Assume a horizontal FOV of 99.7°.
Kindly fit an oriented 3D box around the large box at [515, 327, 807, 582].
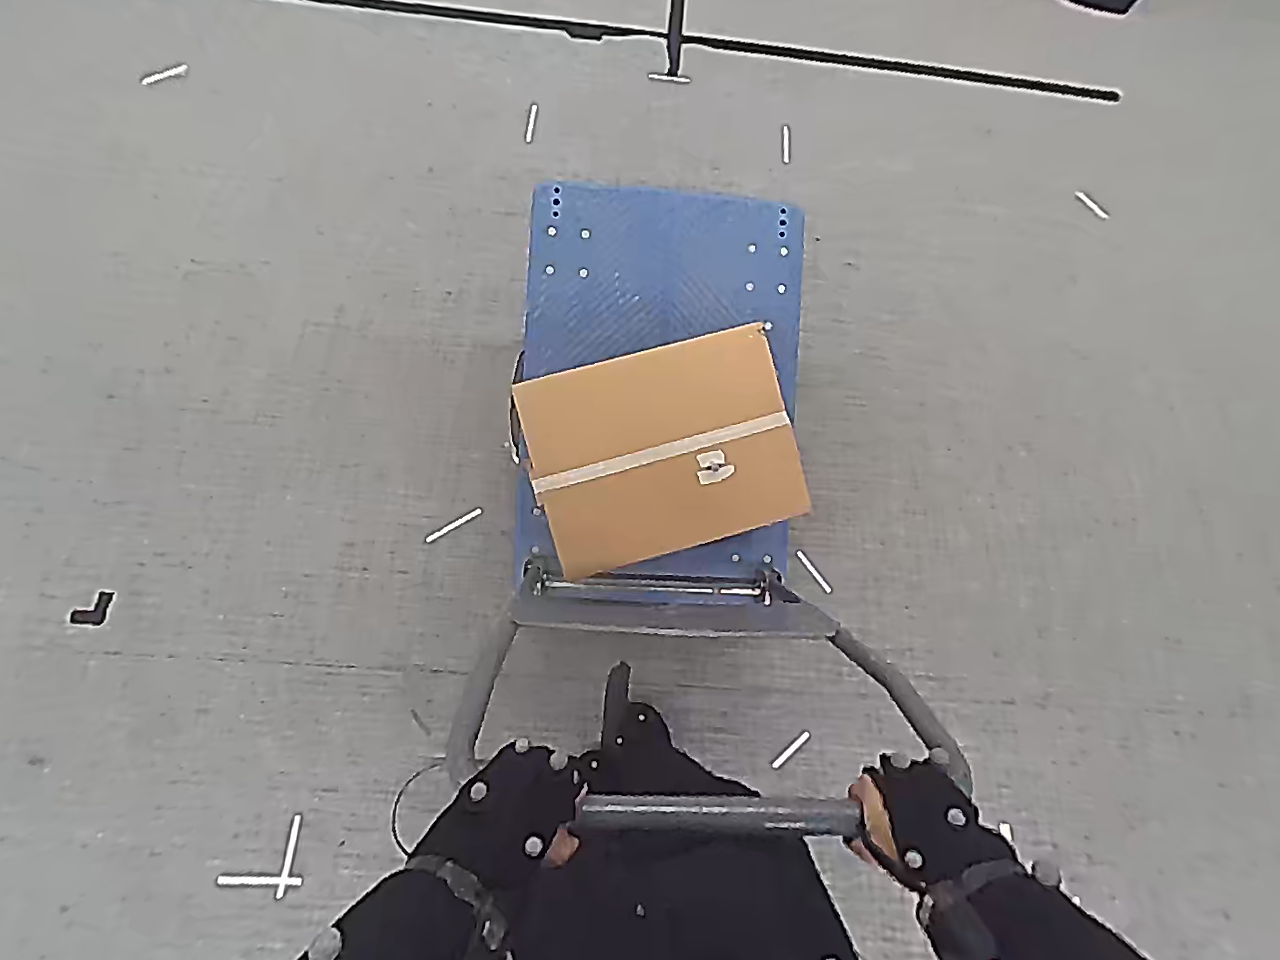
[{"bbox_3d":[0.024,-0.041,0.988,0.408,0.320,0.320,-16,92,-5],"label":"large box"}]
